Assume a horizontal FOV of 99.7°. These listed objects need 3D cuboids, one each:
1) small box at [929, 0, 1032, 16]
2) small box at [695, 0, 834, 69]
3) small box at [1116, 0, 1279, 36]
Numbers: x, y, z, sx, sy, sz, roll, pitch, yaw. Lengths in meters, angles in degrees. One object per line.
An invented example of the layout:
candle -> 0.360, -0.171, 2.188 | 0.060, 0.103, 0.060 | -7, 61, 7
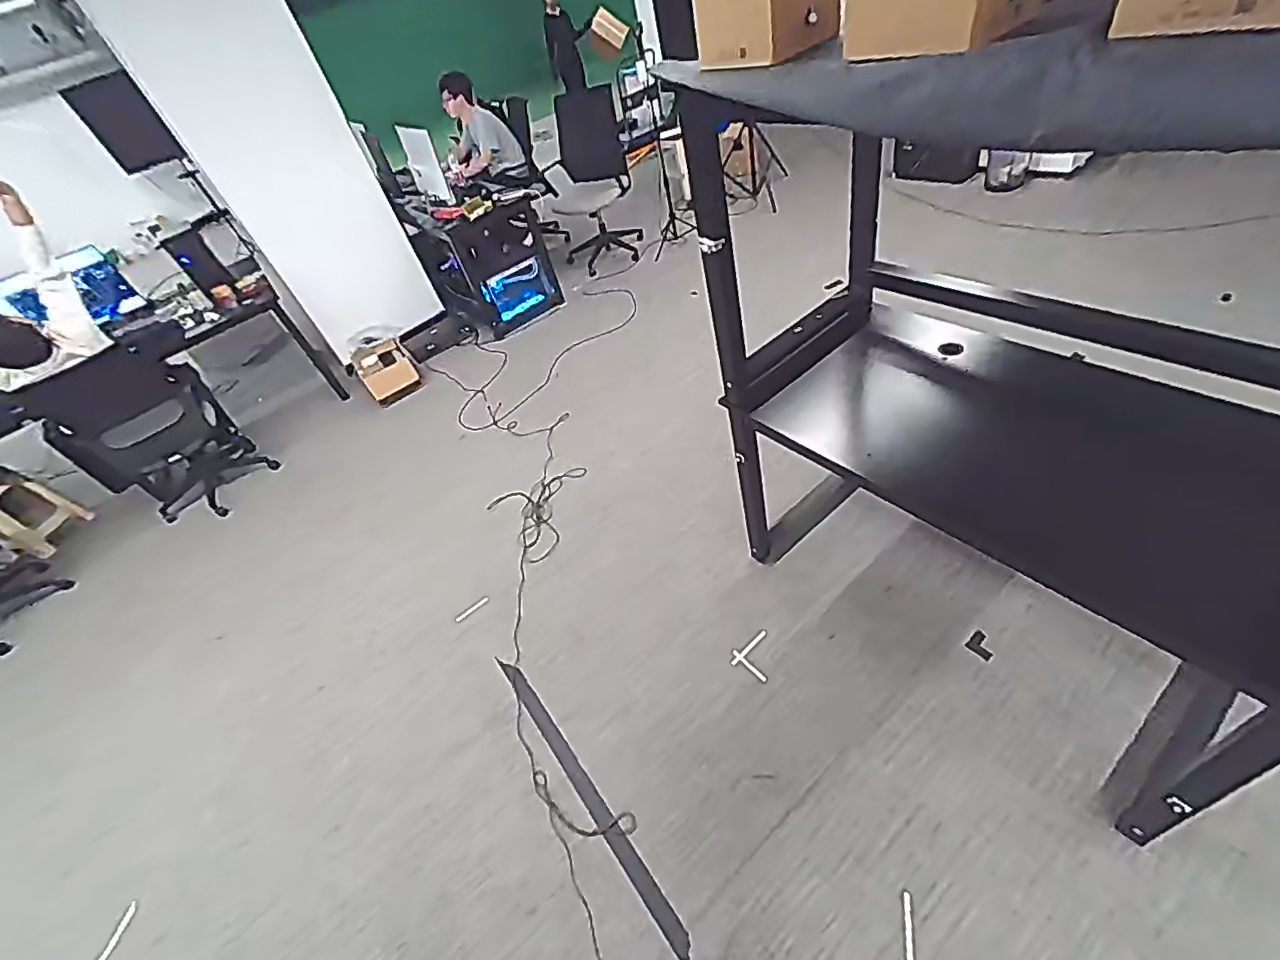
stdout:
small box -> 0.544, -0.790, 0.763 | 0.168, 0.176, 0.179 | -36, 46, -17
small box -> 0.197, -0.787, 0.869 | 0.179, 0.176, 0.168 | -38, 47, -20
small box -> 0.576, -0.517, 0.474 | 0.179, 0.176, 0.168 | -33, 45, -16
